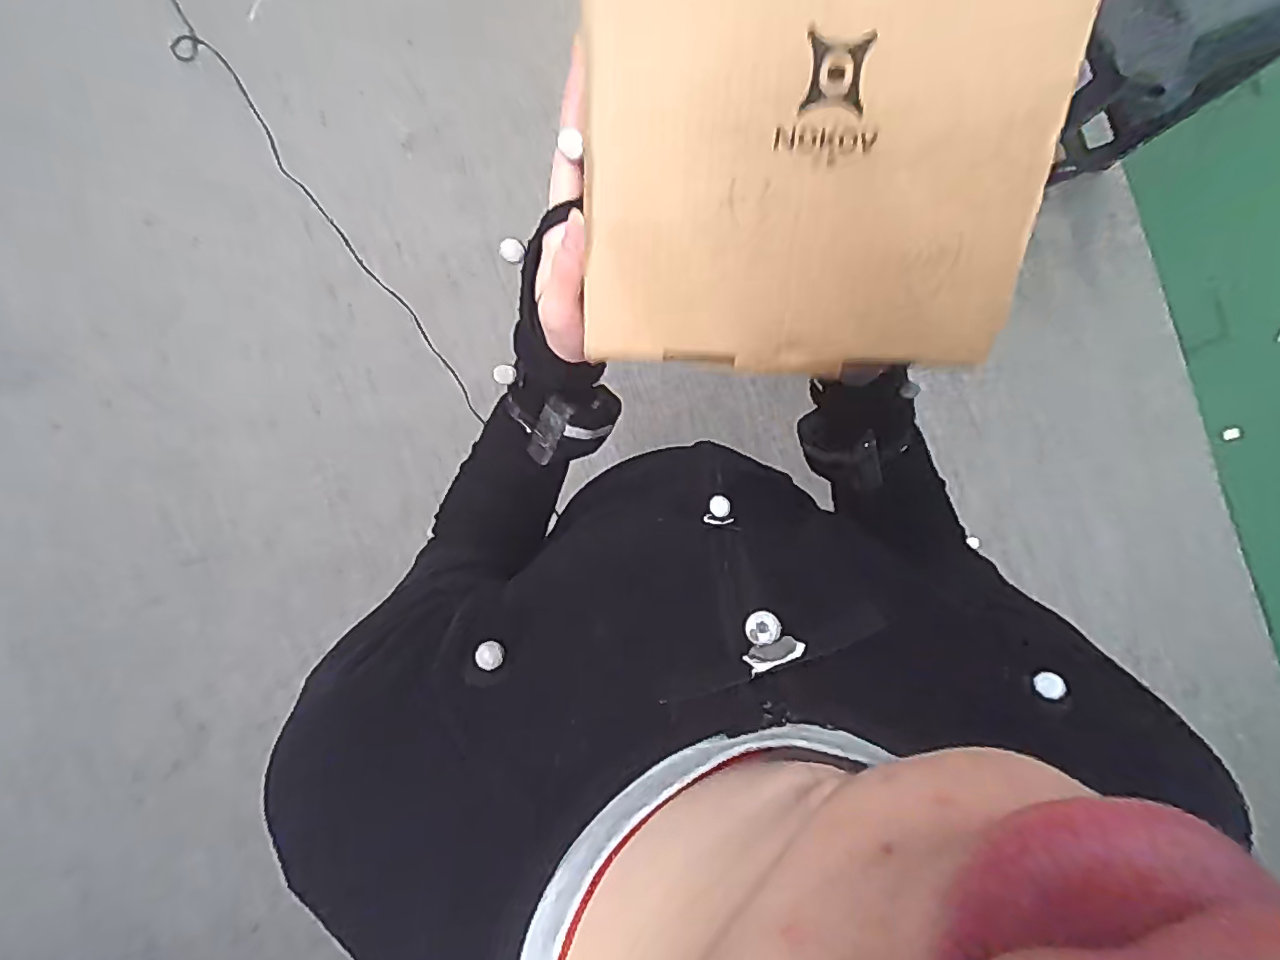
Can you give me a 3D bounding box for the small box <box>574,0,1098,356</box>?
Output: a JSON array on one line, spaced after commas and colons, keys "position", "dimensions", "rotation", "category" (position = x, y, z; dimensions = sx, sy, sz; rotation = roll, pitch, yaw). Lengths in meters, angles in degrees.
[{"position": [0.054, -0.164, 0.247], "dimensions": [0.168, 0.176, 0.179], "rotation": [0, 115, -6], "category": "small box"}]
